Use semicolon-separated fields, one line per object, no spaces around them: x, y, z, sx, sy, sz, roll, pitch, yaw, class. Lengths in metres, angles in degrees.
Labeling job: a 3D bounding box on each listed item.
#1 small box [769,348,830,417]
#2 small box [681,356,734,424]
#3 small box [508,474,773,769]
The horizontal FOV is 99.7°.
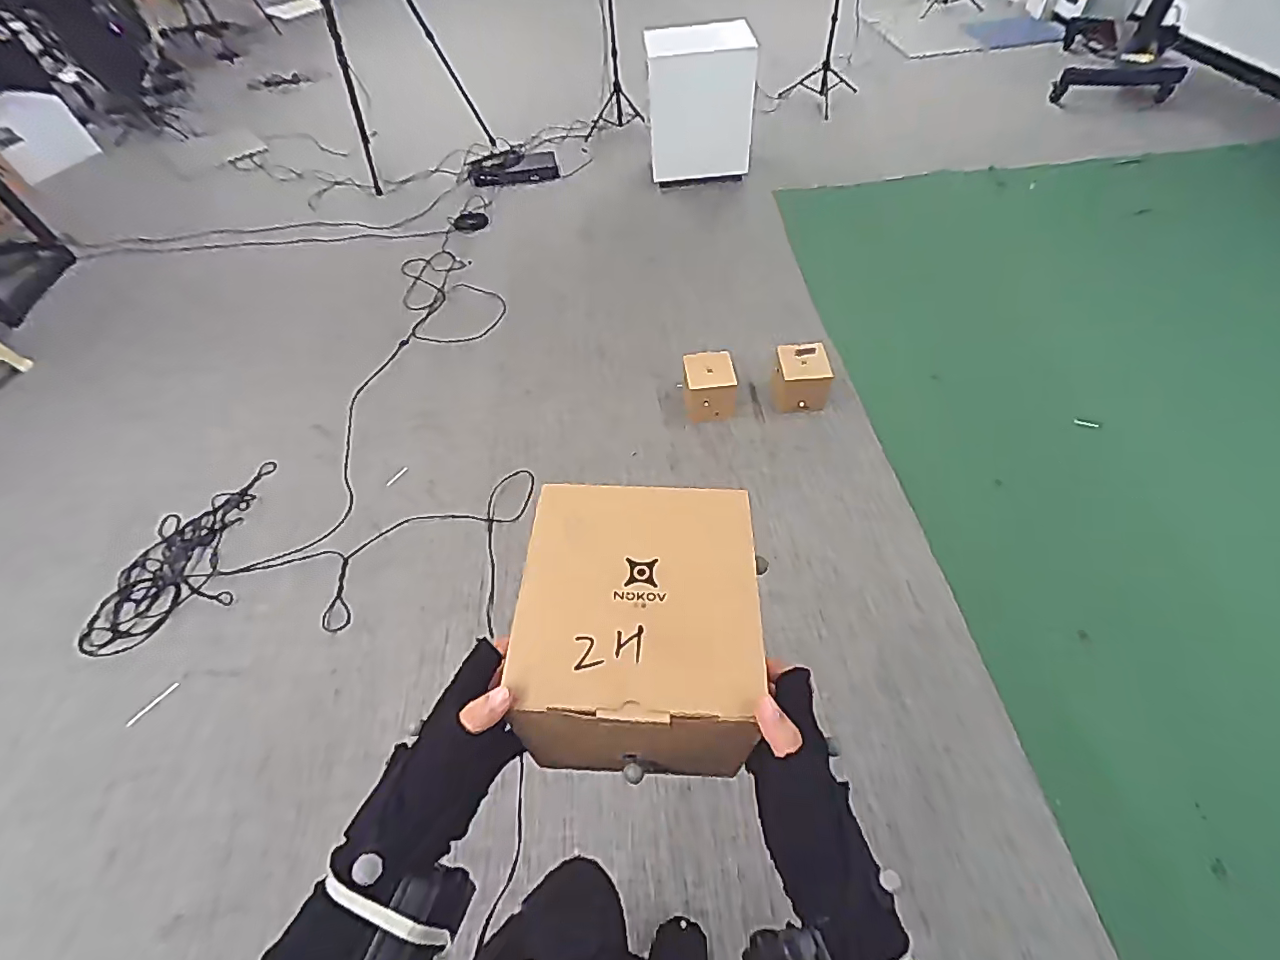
0.564;-0.348;1.936;0.168;0.176;0.179;-4;54;2;small box
0.240;-0.317;1.940;0.168;0.176;0.179;-7;52;-1;small box
0.004;0.116;0.442;0.168;0.176;0.179;1;50;2;small box
